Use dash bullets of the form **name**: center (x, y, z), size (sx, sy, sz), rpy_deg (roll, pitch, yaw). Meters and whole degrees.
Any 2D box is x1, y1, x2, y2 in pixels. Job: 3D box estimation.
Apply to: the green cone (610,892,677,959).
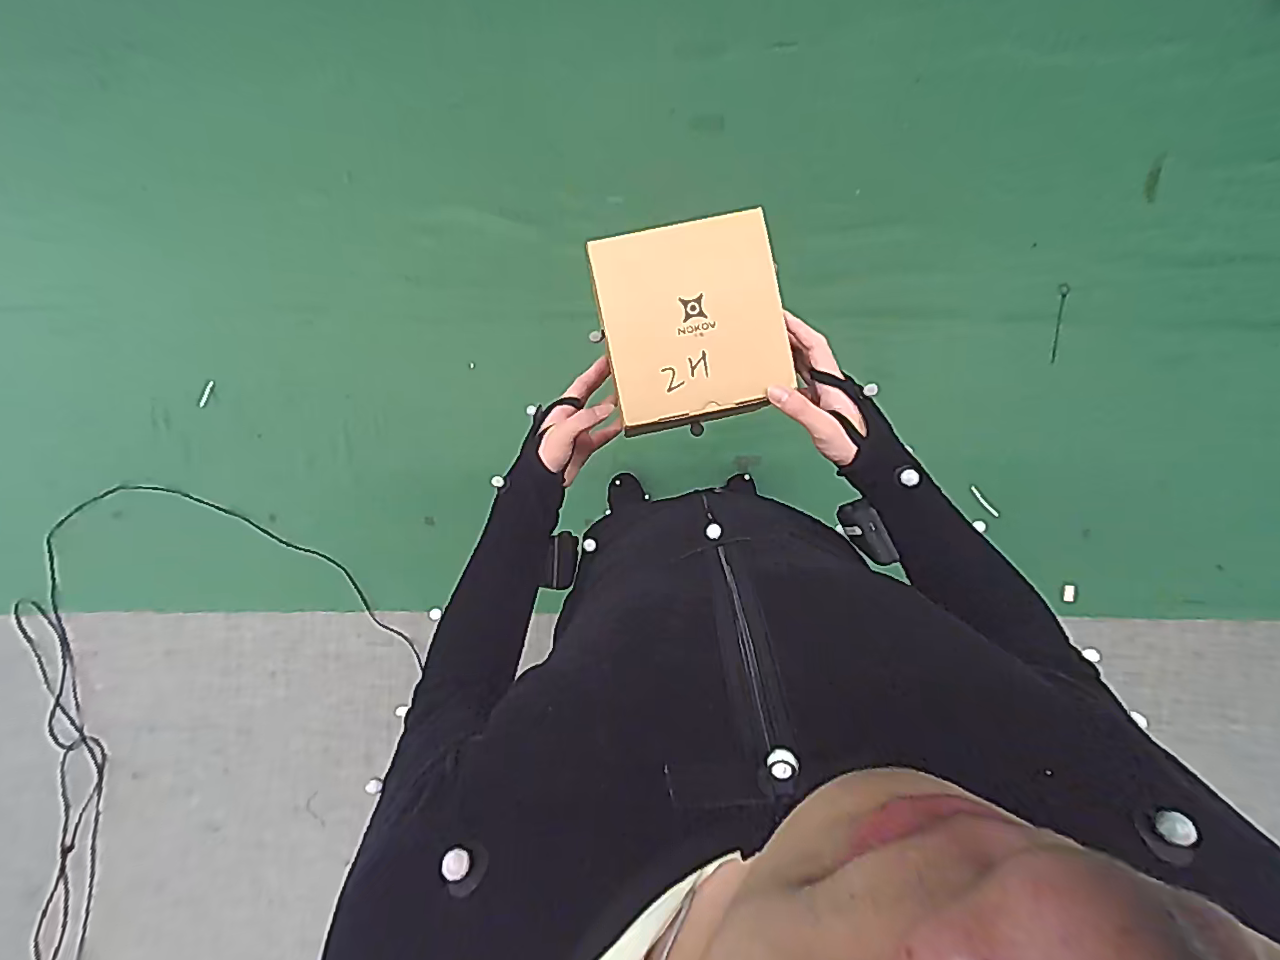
- **green cone**: center (0.002, 1.357, 1.469), size (0.202, 0.368, 0.200), rpy_deg (1, 91, 3)
